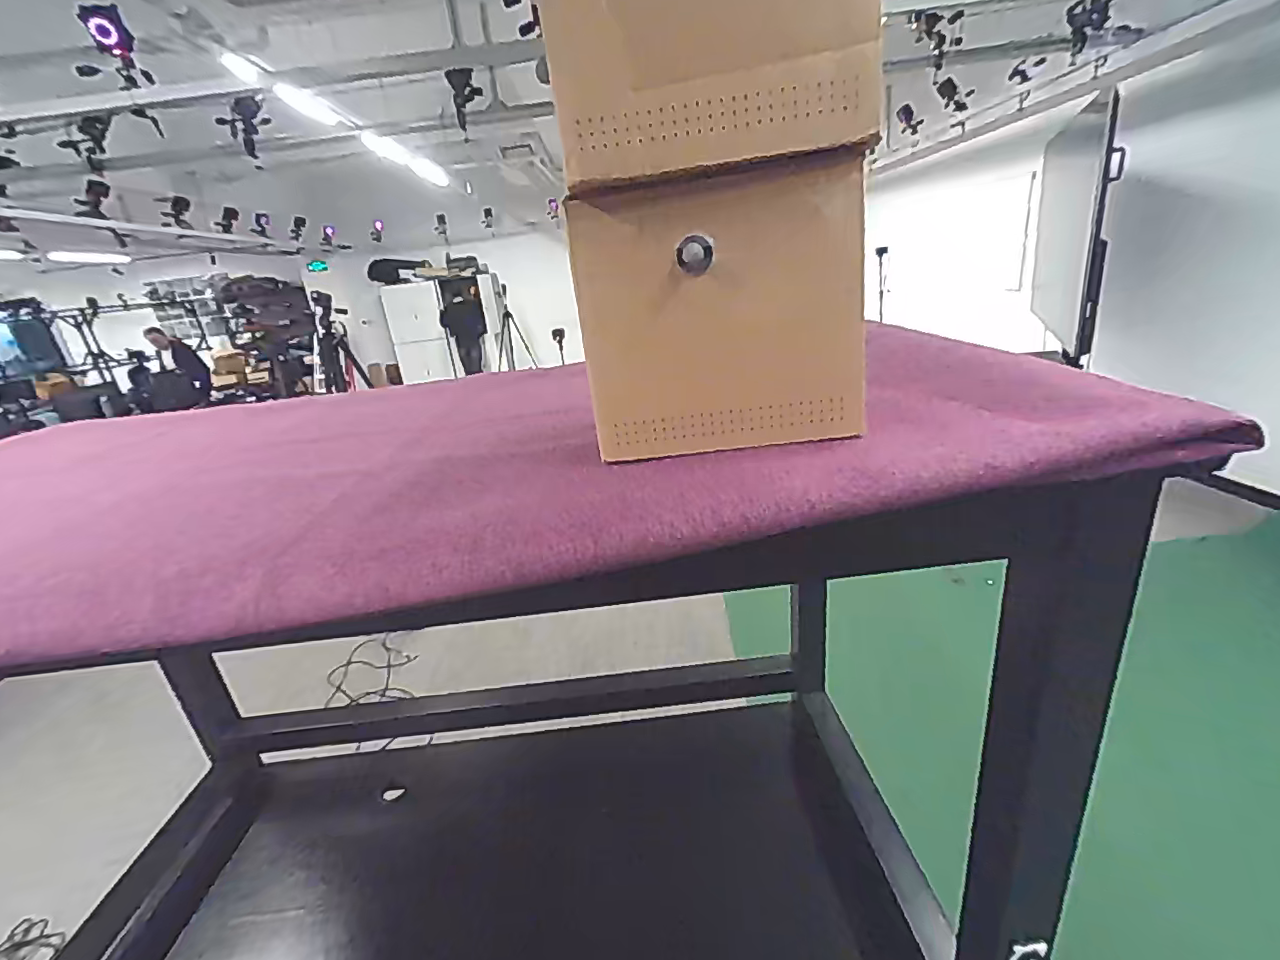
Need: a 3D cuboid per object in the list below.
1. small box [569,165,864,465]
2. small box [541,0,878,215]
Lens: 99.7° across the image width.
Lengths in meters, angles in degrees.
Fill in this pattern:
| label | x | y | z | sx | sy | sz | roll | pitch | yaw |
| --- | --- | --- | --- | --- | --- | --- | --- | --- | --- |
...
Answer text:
| label | x | y | z | sx | sy | sz | roll | pitch | yaw |
| --- | --- | --- | --- | --- | --- | --- | --- | --- | --- |
| small box | 0.059 | -0.115 | 0.411 | 0.179 | 0.176 | 0.168 | -5 | 19 | 6 |
| small box | 0.036 | -0.262 | 0.345 | 0.179 | 0.176 | 0.168 | -7 | 19 | 2 |
